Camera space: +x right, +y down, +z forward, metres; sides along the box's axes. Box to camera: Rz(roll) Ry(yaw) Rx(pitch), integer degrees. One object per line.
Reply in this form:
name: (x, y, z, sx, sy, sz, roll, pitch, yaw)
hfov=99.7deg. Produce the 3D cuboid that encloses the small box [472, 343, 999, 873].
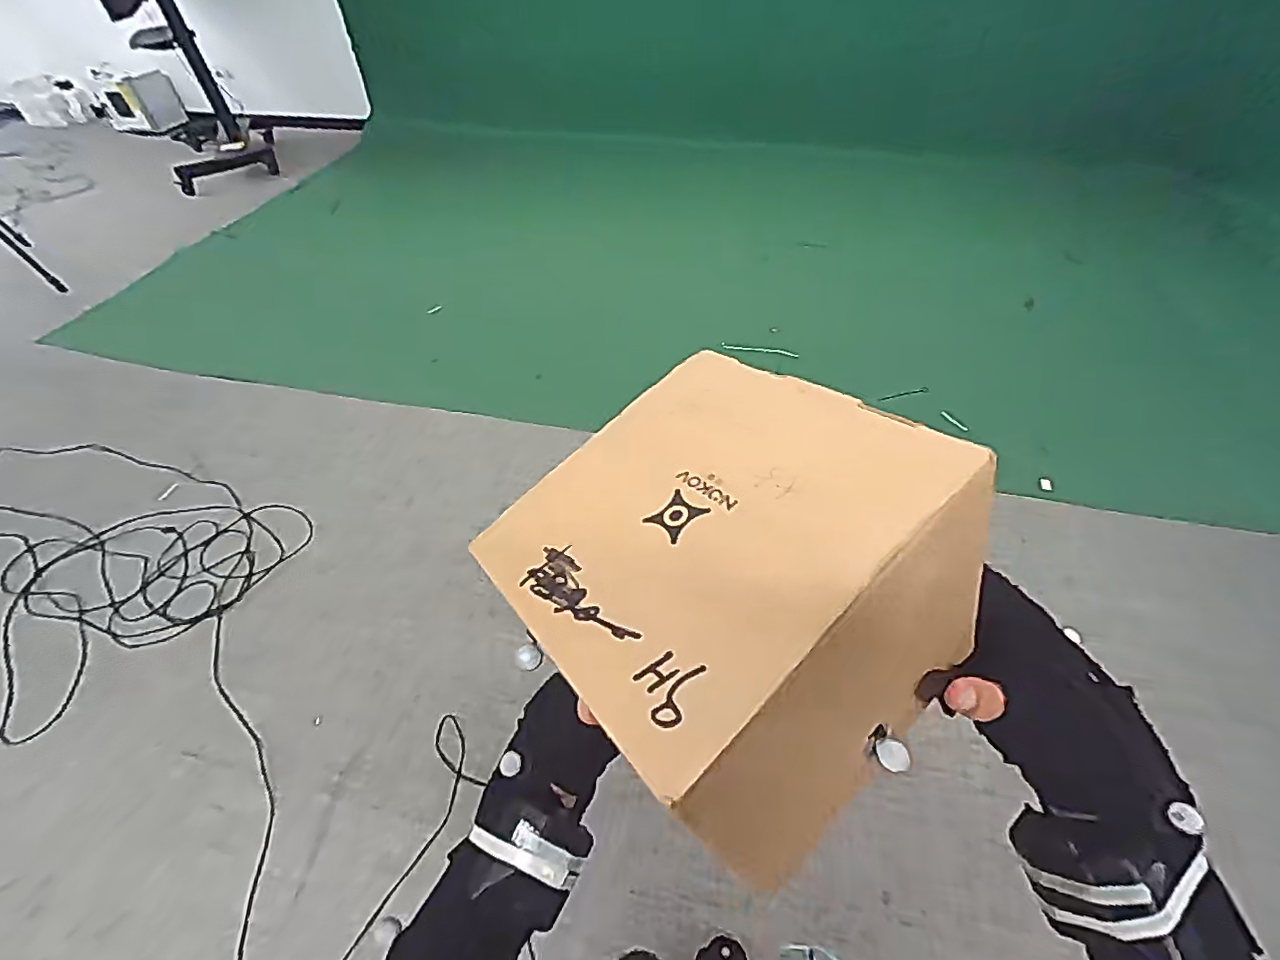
small box: (0.051, 0.060, 0.290, 0.179, 0.176, 0.168, -41, 43, -15)
